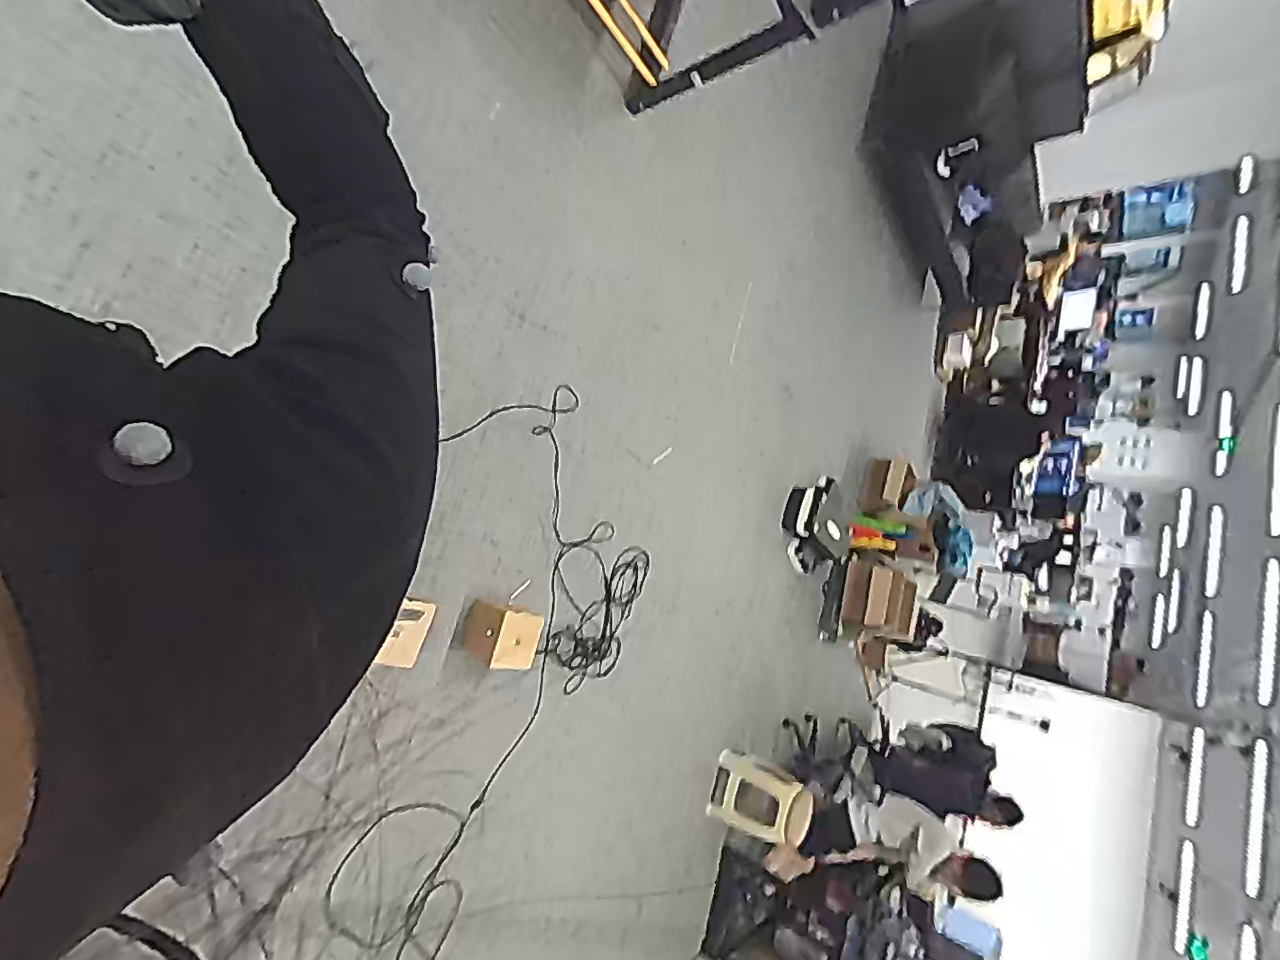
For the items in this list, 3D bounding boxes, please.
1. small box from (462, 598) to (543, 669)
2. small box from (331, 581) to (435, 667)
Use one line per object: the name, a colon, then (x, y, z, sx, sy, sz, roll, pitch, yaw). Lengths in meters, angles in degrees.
small box: (-0.450, 0.497, 1.753, 0.168, 0.176, 0.179, 26, 75, -48)
small box: (-0.694, 0.383, 1.452, 0.168, 0.176, 0.179, 33, 71, -47)
